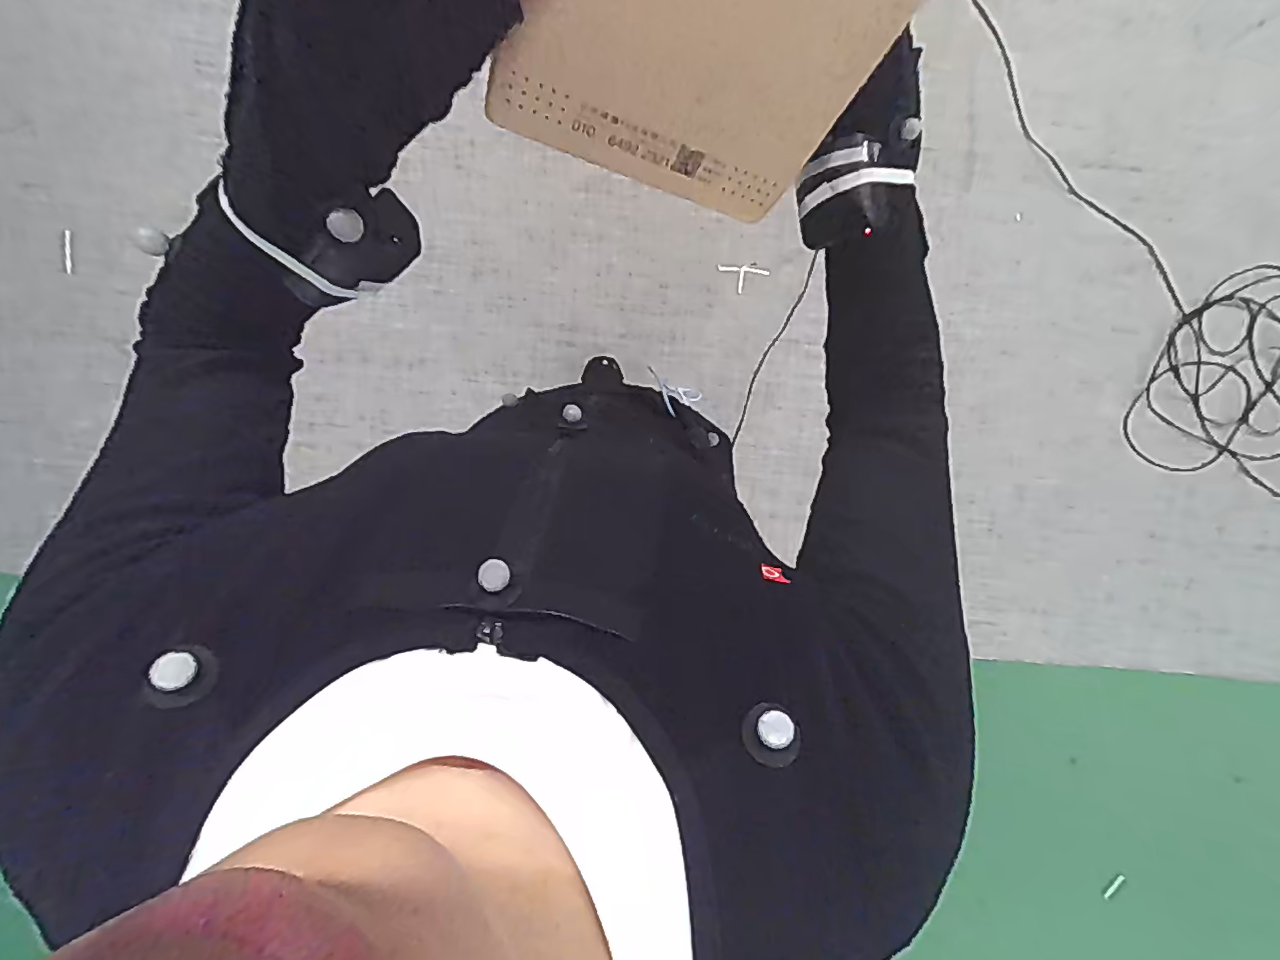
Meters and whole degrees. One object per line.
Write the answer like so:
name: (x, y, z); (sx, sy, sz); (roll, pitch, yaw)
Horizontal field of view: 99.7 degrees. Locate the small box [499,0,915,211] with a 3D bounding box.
small box: (0.030, -0.285, 0.278); (0.168, 0.176, 0.179); (10, 62, -23)
